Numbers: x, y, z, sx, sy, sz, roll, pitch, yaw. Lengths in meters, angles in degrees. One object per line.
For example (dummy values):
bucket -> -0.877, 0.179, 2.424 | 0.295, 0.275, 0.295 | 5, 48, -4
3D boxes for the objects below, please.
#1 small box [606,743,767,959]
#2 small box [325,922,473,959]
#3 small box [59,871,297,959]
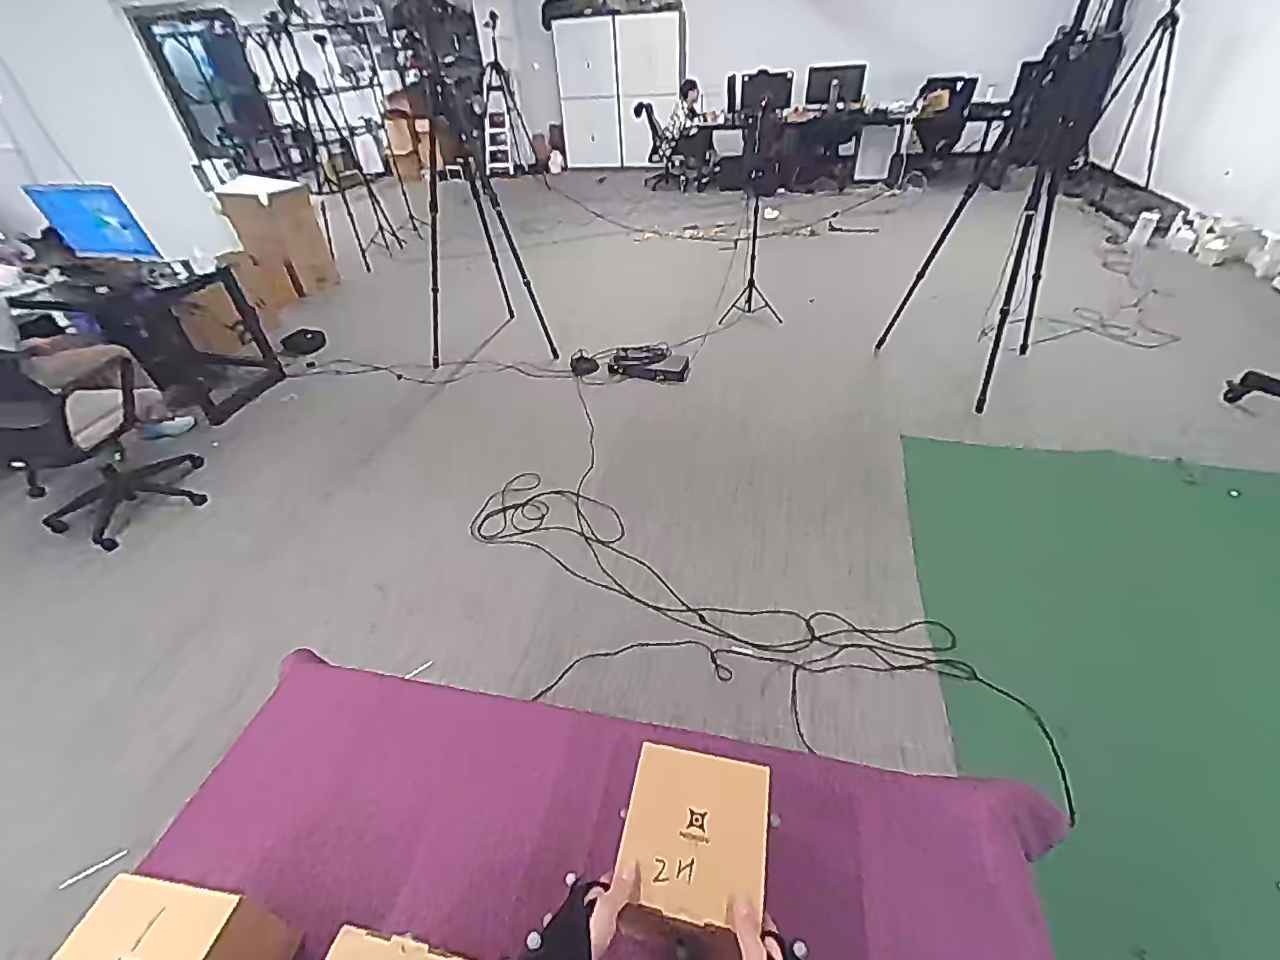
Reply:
small box -> 0.066, 0.474, 0.688 | 0.168, 0.176, 0.179 | 5, 41, 14
small box -> -0.259, 0.608, 0.563 | 0.168, 0.176, 0.179 | 4, 41, 13
small box -> -0.540, 0.587, 0.614 | 0.168, 0.176, 0.179 | 3, 38, 10
